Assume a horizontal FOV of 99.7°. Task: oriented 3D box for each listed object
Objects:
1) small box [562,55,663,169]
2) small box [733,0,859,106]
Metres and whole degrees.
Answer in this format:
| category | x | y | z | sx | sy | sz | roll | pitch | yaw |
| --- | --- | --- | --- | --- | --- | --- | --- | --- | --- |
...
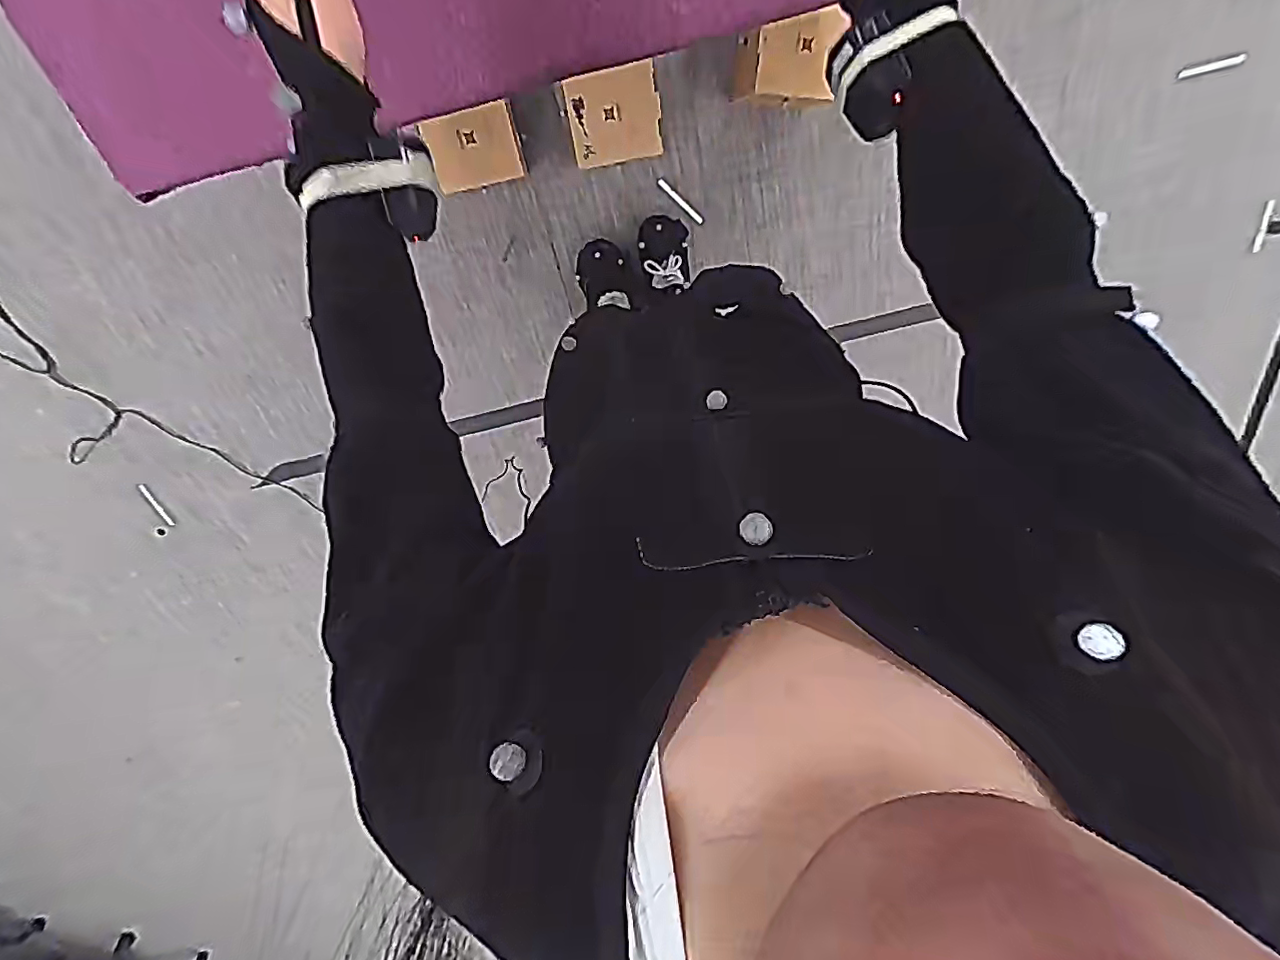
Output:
| category | x | y | z | sx | sy | sz | roll | pitch | yaw |
| --- | --- | --- | --- | --- | --- | --- | --- | --- | --- |
| small box | -0.059 | -0.746 | 1.107 | 0.179 | 0.176 | 0.168 | -11 | 121 | -1 |
| small box | 0.302 | -0.863 | 1.086 | 0.179 | 0.176 | 0.168 | 0 | 120 | -6 |
